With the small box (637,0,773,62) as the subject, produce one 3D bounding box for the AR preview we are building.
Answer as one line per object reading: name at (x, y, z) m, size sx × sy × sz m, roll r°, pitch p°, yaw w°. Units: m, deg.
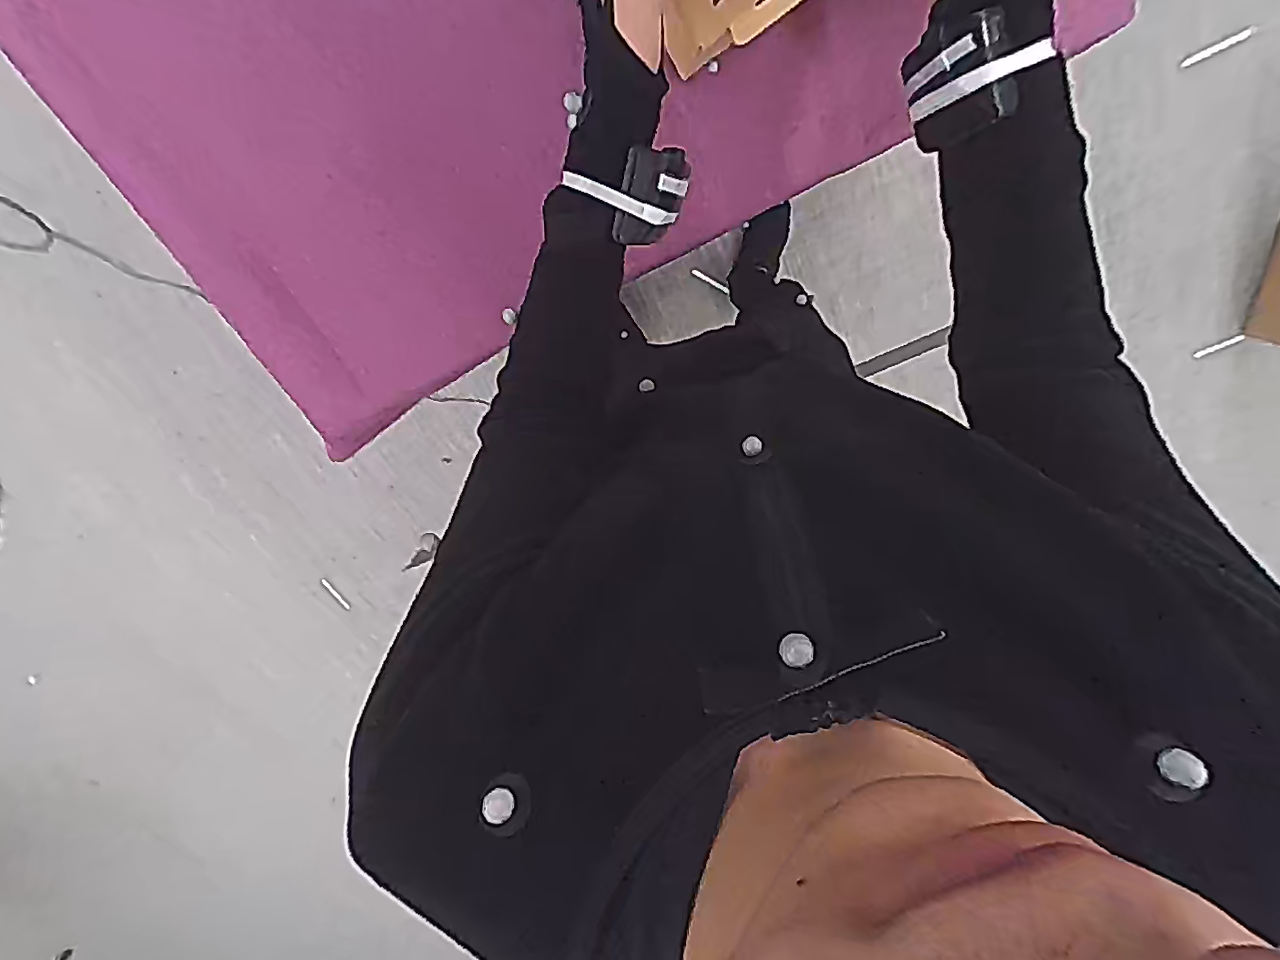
small box at (0.068, -0.557, 0.534) m, size 0.168 × 0.176 × 0.179 m, roll -30°, pitch 114°, yaw 13°
